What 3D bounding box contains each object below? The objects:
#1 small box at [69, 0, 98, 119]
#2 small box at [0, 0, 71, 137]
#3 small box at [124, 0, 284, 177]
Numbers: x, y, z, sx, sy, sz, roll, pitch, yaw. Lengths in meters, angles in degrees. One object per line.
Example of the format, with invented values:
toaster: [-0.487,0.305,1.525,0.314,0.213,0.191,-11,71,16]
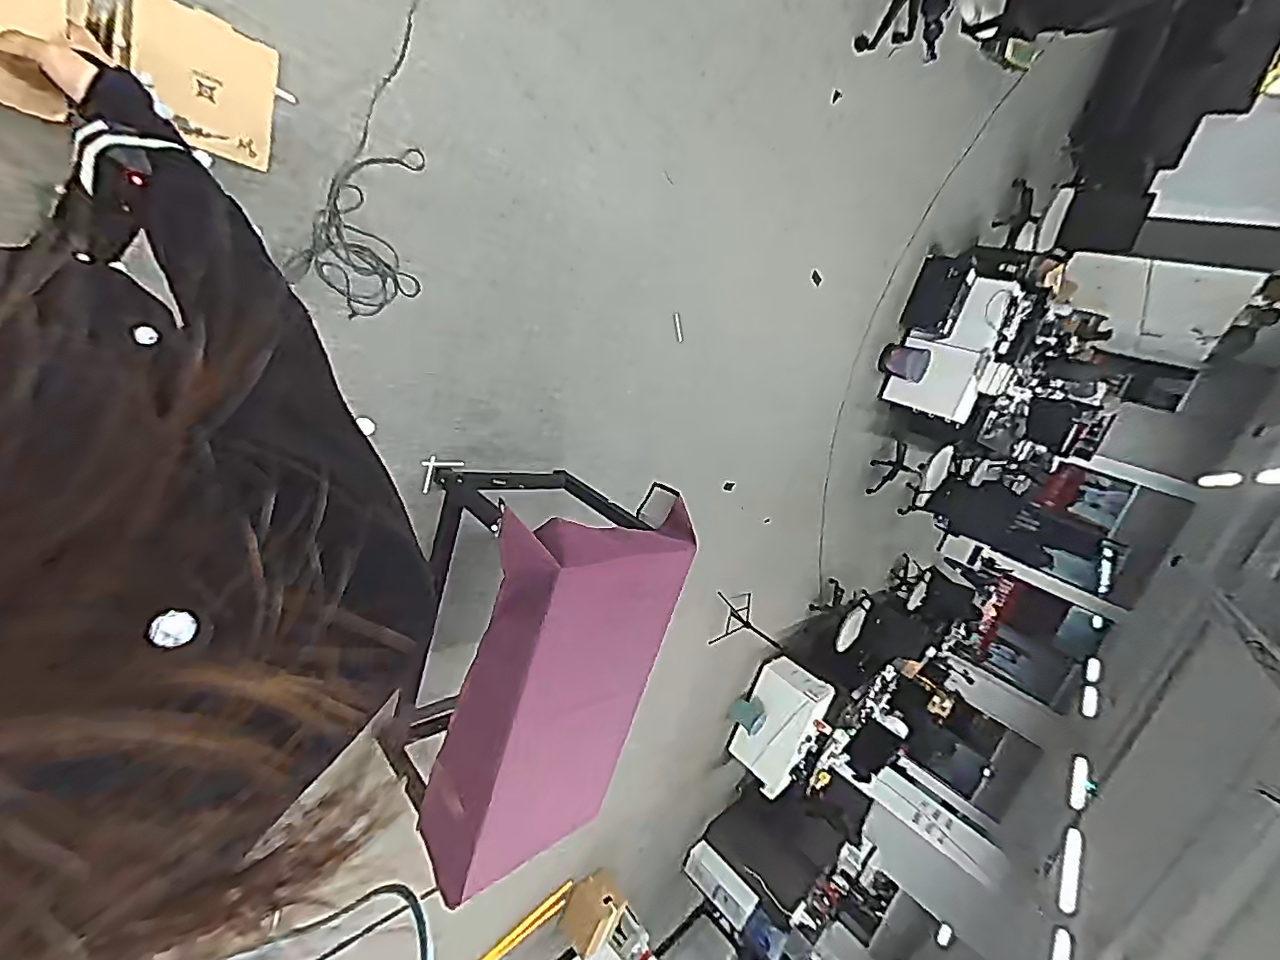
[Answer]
small box: [-0.925,-0.660,0.784,0.179,0.176,0.168,9,107,-48]
small box: [-0.619,-0.429,0.458,0.168,0.176,0.179,-7,122,-55]
small box: [-0.675,-0.594,0.833,0.168,0.176,0.179,1,112,-47]
